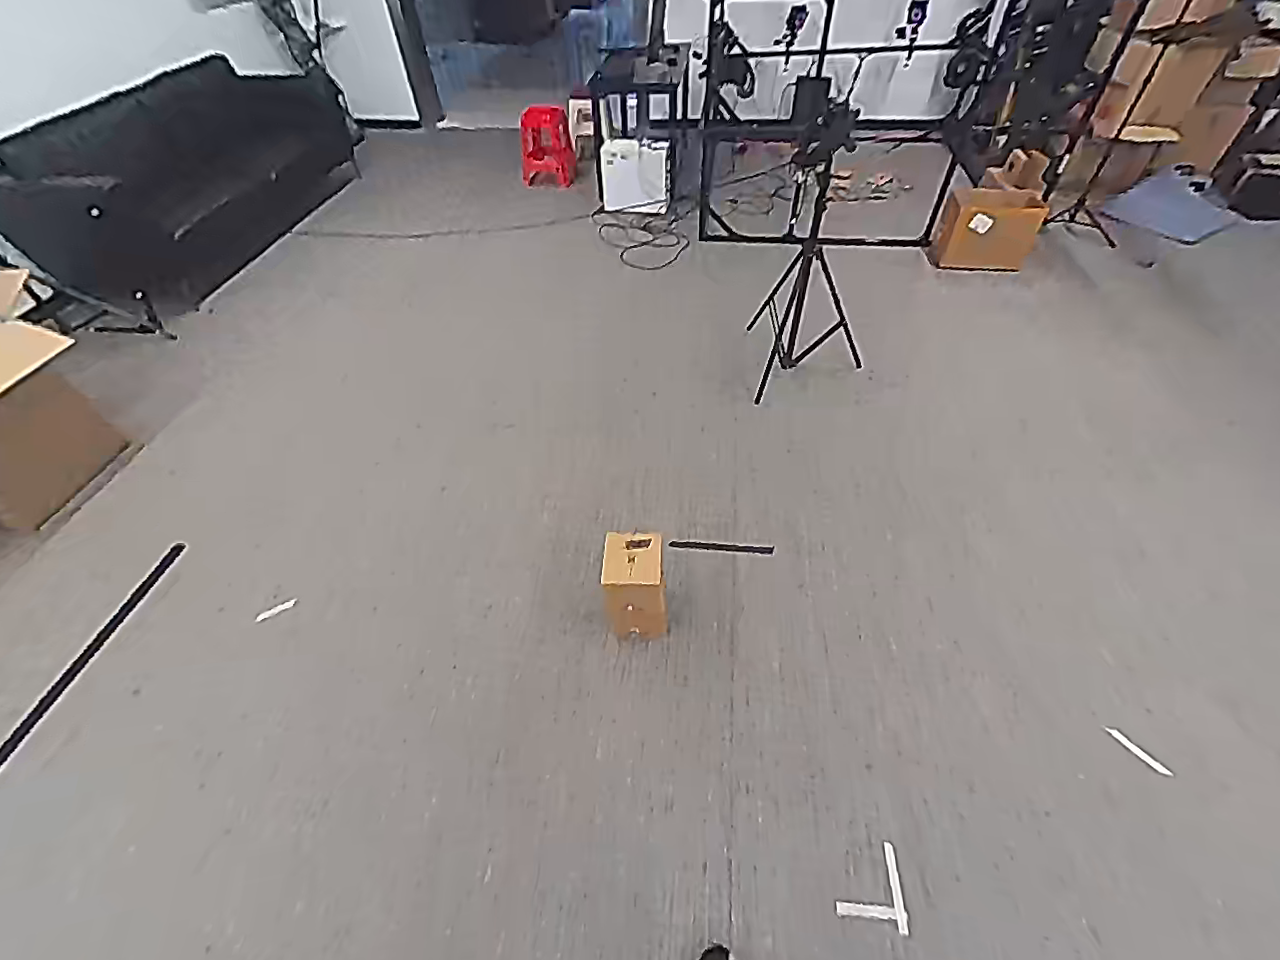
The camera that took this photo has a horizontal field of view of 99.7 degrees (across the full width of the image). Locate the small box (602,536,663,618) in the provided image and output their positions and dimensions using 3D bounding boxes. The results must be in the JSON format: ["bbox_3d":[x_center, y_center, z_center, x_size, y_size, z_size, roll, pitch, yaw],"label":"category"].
[{"bbox_3d":[-0.017,0.285,1.591,0.168,0.176,0.179,0,48,4],"label":"small box"}]

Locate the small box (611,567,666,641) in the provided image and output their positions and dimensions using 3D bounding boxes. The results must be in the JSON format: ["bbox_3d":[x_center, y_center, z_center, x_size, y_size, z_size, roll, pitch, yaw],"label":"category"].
[{"bbox_3d":[-0.003,0.392,1.715,0.168,0.176,0.179,-1,48,3],"label":"small box"}]
